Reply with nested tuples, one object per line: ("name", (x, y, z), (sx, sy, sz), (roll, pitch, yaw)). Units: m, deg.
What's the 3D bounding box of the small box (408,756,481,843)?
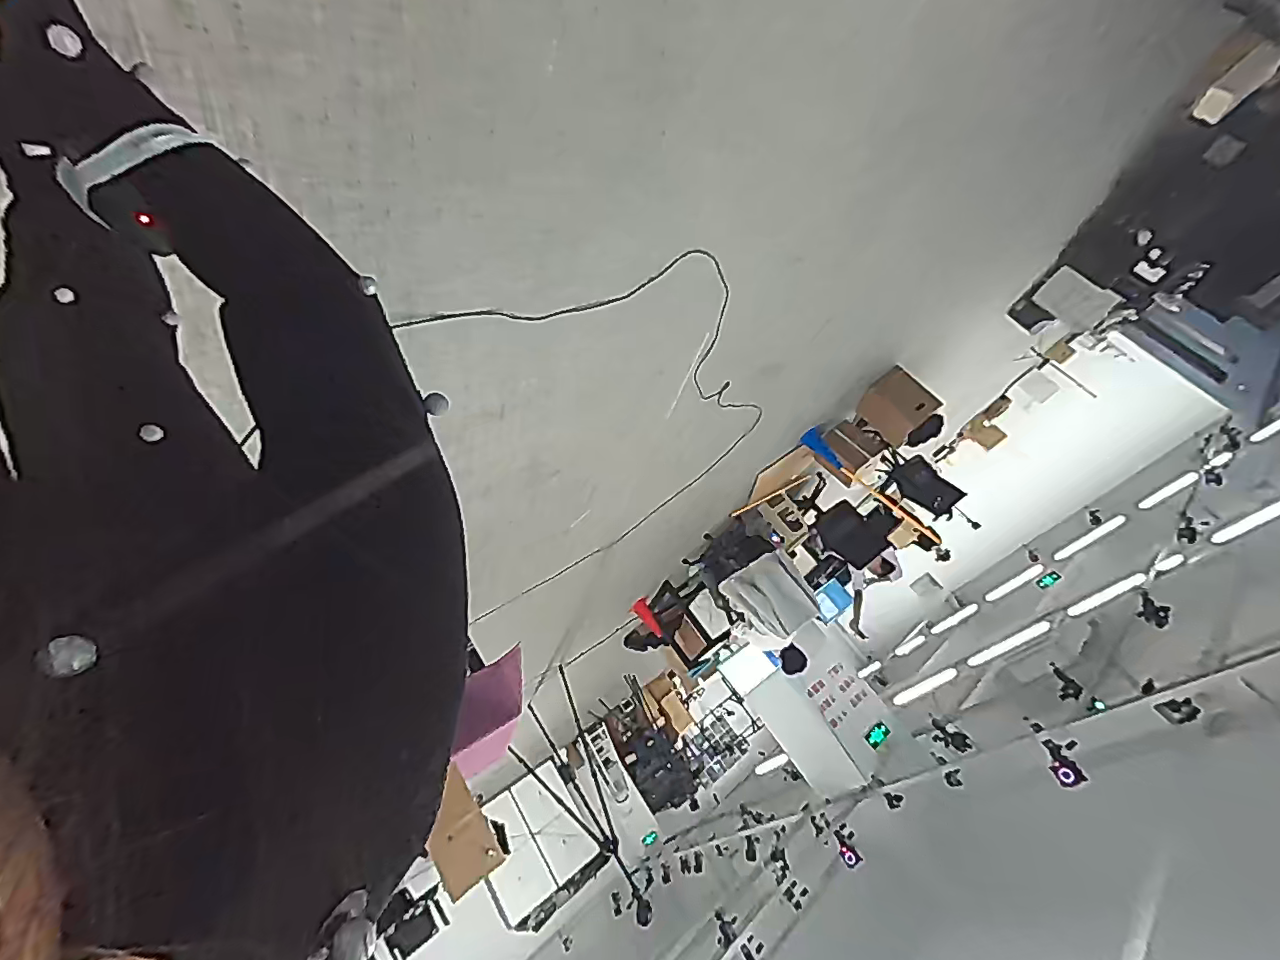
("small box", (-0.624, 1.012, 1.719), (0.168, 0.176, 0.179), (-23, 153, -34))
